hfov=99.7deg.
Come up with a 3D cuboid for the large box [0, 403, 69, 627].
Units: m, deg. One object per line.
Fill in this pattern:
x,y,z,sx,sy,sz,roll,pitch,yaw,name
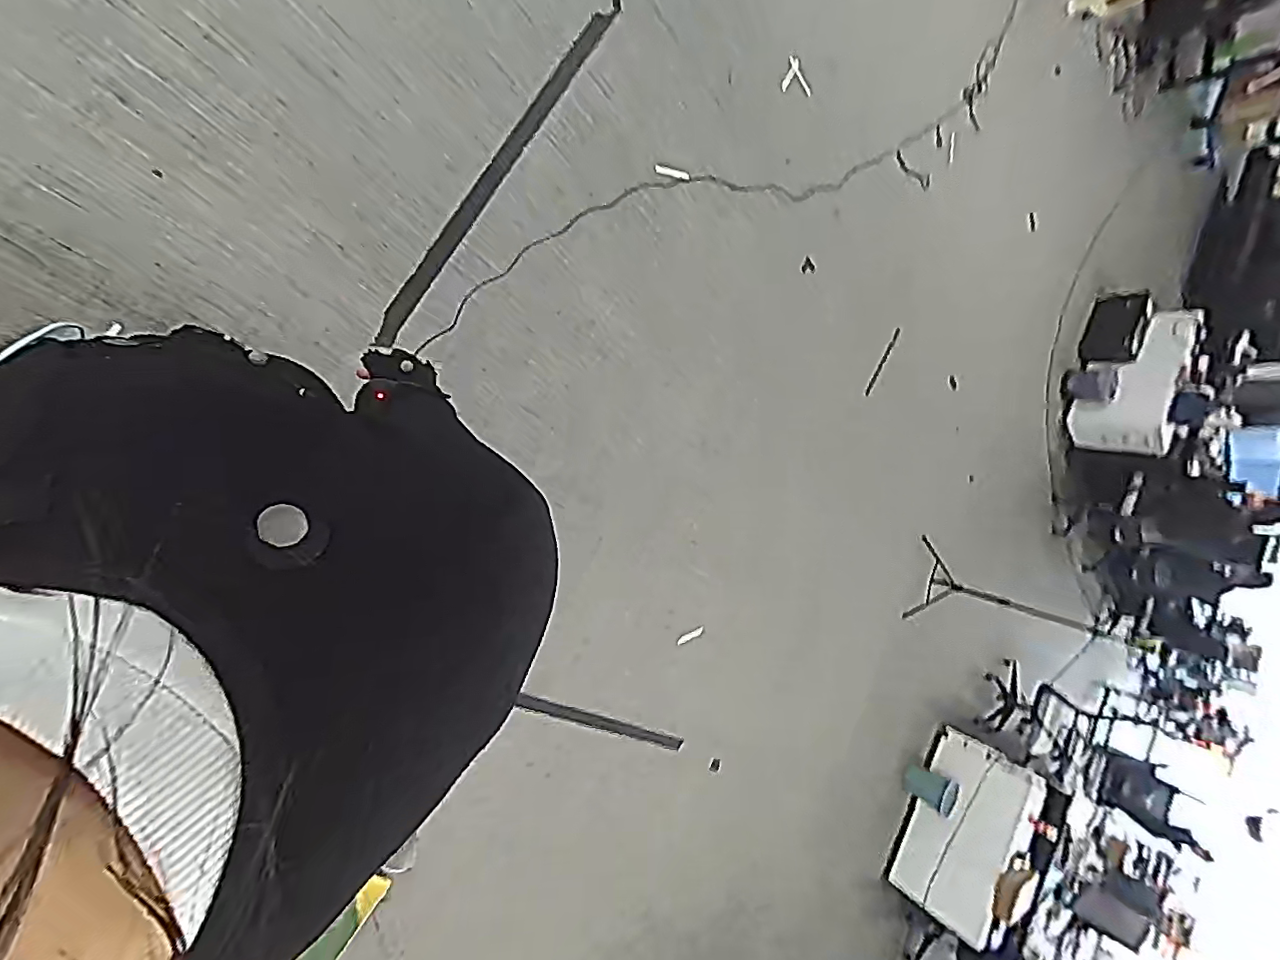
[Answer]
-0.904,-0.015,0.545,0.320,0.320,0.408,-24,72,-35,large box
